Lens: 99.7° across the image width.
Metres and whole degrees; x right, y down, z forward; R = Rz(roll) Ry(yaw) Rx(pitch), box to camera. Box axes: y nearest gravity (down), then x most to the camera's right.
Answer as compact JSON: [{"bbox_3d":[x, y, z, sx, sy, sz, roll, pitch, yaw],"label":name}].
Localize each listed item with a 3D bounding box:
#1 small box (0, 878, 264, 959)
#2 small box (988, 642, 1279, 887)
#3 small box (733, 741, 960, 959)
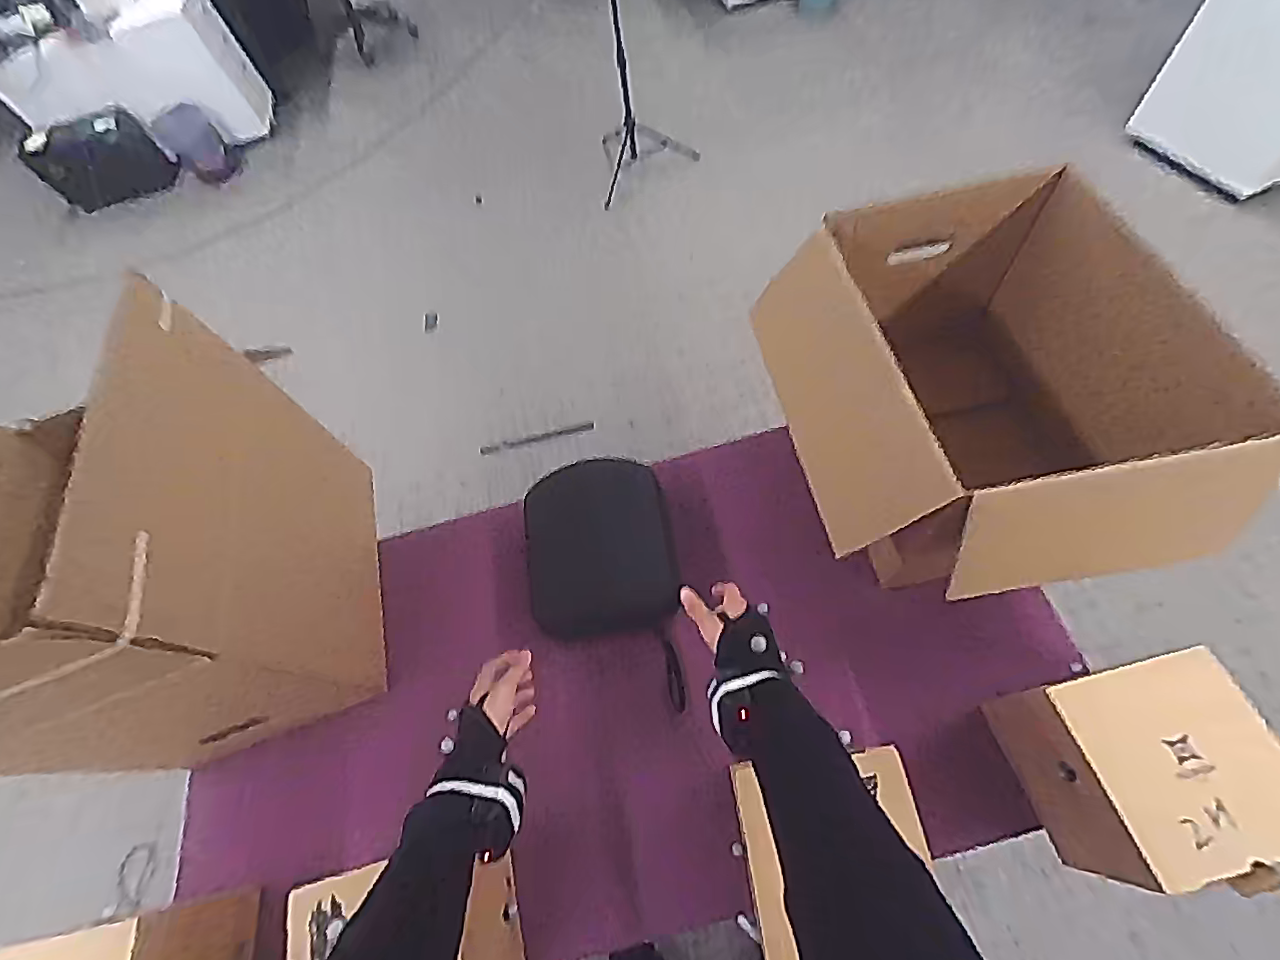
[{"bbox_3d":[-0.568,0.566,0.597,0.179,0.176,0.168,-13,62,1],"label":"small box"},{"bbox_3d":[0.514,0.291,0.569,0.168,0.176,0.179,-16,62,2],"label":"small box"},{"bbox_3d":[0.194,0.383,0.573,0.168,0.176,0.179,-9,64,4],"label":"small box"}]
